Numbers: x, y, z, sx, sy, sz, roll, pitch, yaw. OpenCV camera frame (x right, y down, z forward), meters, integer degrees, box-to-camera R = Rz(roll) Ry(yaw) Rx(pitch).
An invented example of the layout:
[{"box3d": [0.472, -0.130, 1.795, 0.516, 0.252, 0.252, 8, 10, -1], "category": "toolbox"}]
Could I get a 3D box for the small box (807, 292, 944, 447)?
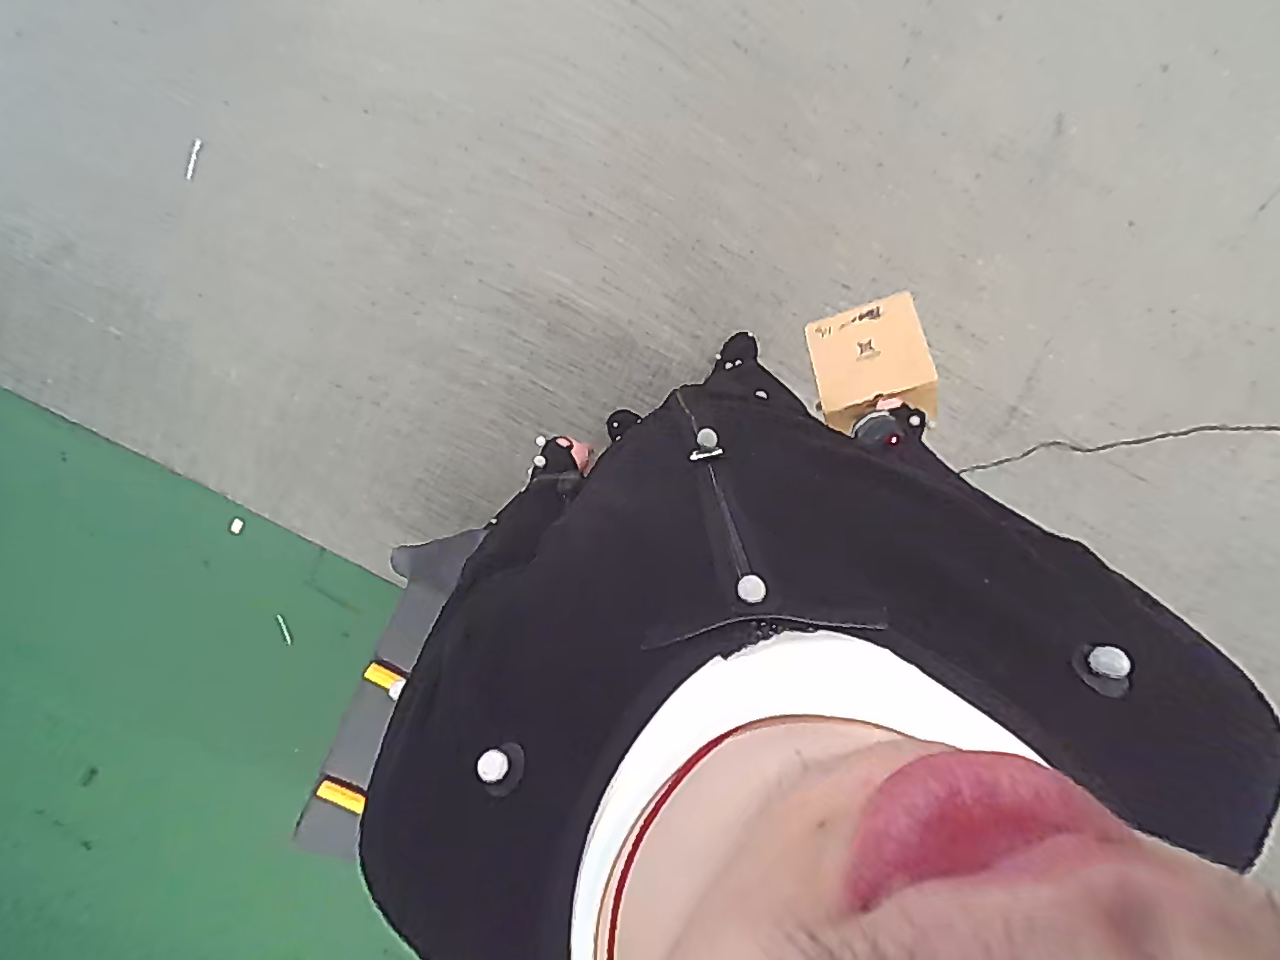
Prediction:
[{"box3d": [0.397, -0.171, 0.908, 0.168, 0.176, 0.179, -17, 62, 24], "category": "small box"}]
